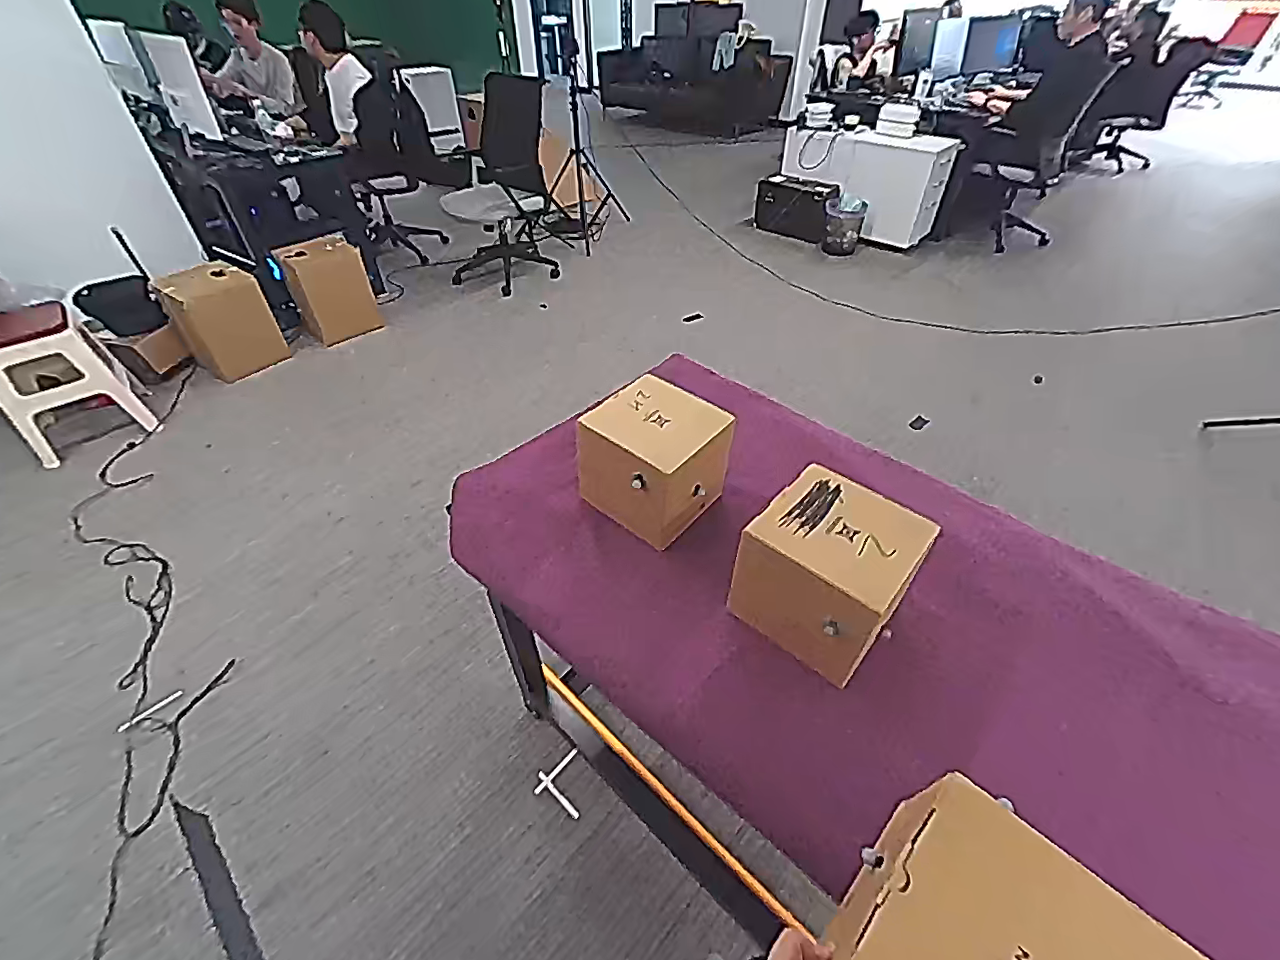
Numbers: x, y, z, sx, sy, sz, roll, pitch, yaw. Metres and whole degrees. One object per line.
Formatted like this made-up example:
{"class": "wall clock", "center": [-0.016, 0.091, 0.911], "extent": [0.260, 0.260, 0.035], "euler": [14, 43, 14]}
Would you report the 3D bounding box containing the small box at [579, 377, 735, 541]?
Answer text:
{"class": "small box", "center": [0.024, -0.028, 0.855], "extent": [0.179, 0.176, 0.168], "euler": [32, 51, 27]}
